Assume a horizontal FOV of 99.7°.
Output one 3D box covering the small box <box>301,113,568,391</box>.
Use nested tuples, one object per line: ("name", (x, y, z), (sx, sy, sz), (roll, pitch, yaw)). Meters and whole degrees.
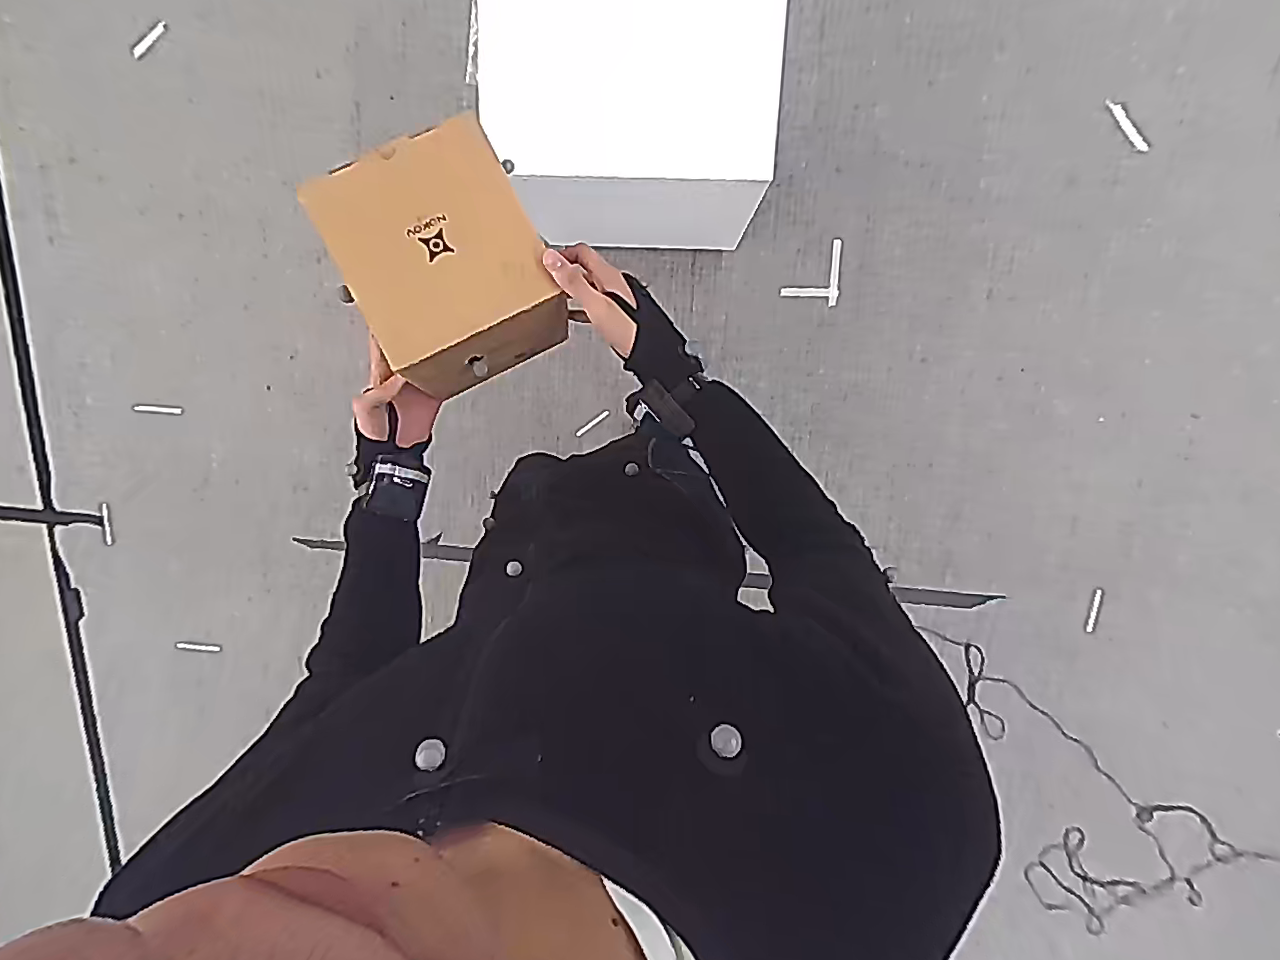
("small box", (-0.179, -0.201, 0.538), (0.168, 0.176, 0.179), (-28, 92, -6))
